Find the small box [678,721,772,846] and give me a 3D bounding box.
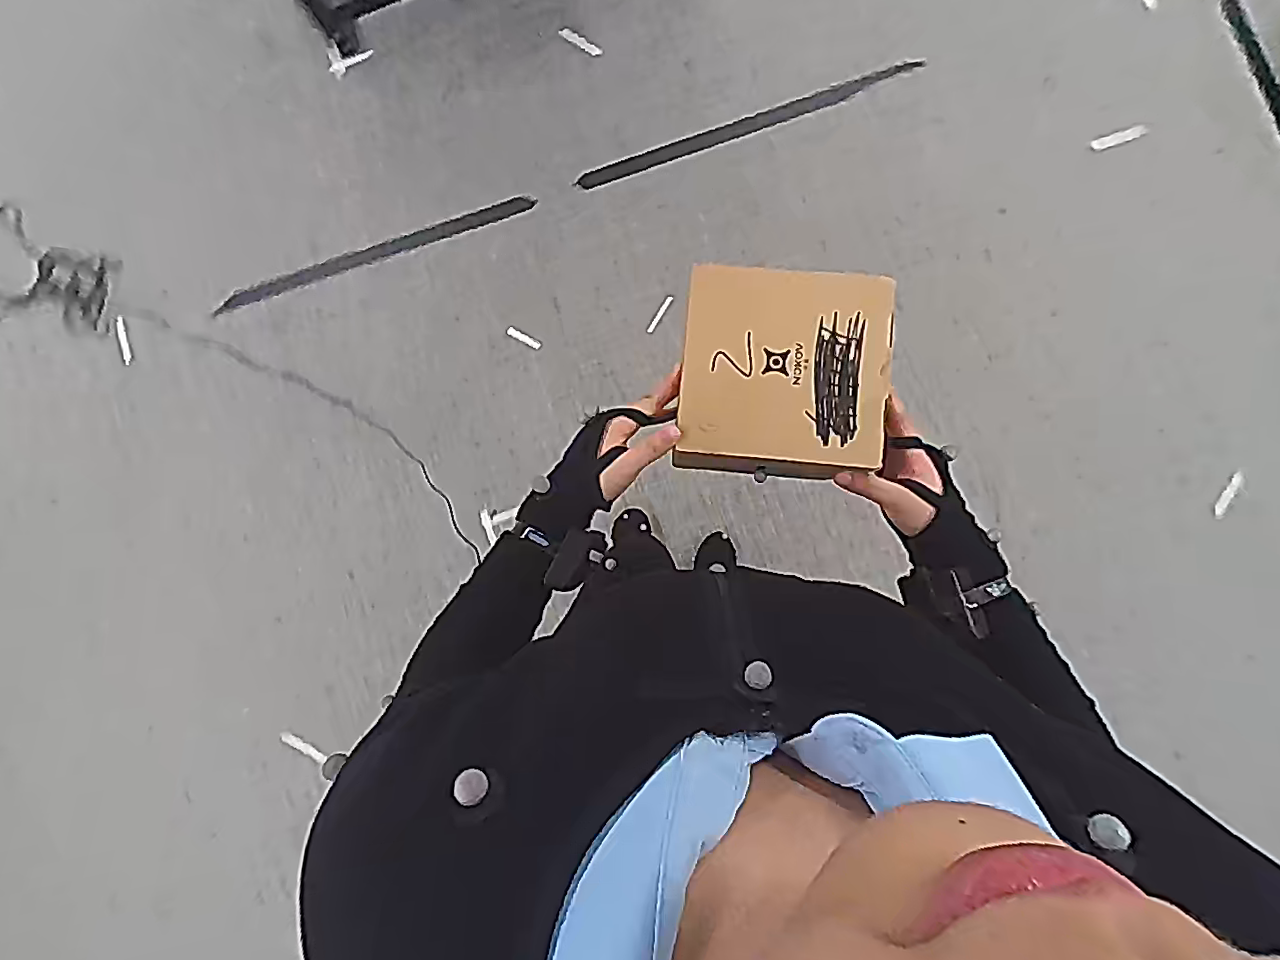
[{"bbox_3d":[0.184,0.673,1.216,0.168,0.176,0.179,-14,85,2],"label":"small box"}]
